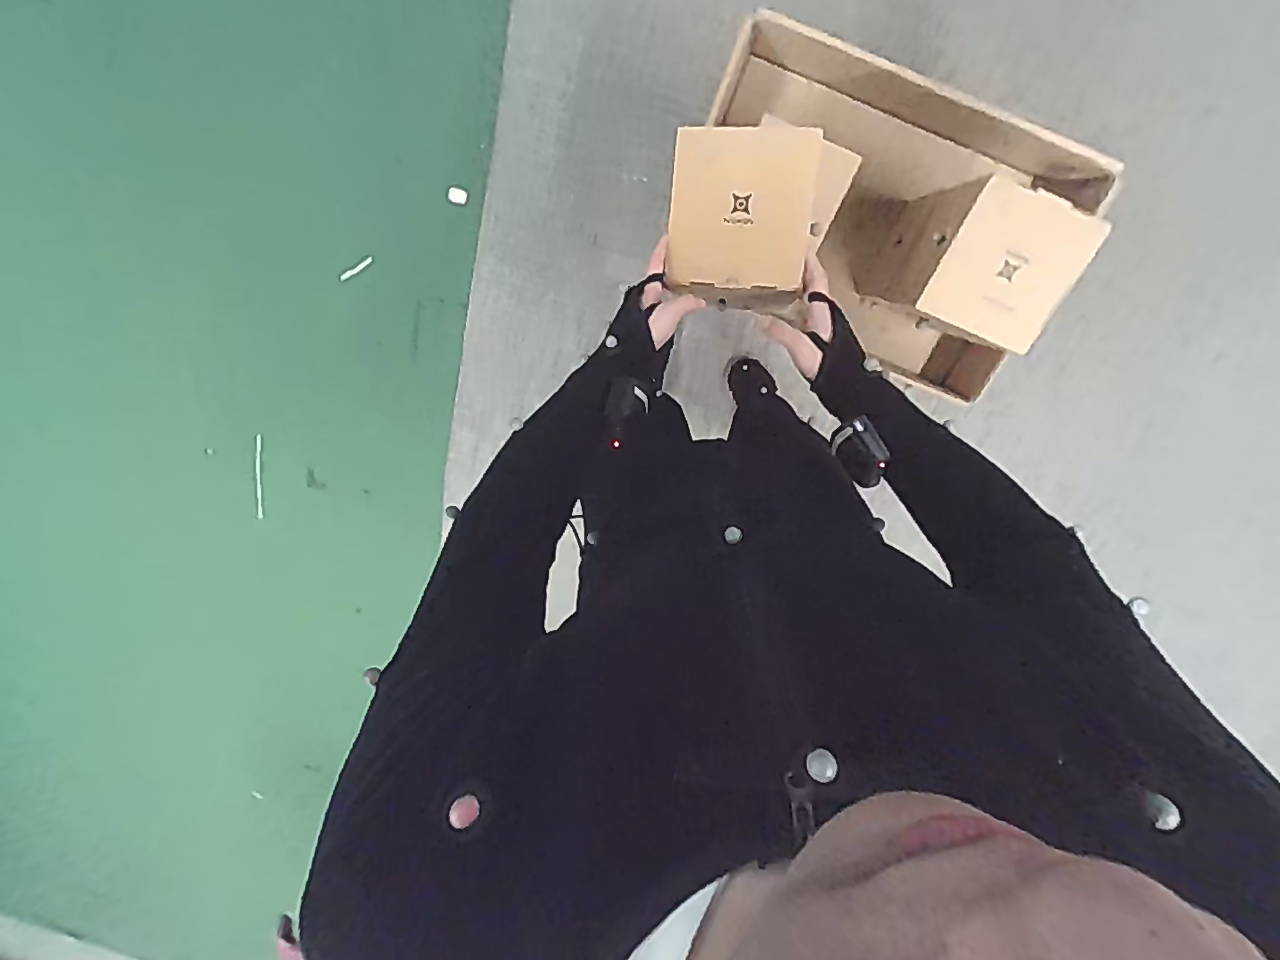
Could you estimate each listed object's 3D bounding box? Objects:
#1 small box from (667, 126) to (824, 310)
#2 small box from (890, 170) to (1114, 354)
[{"bbox_3d":[0.130,-0.326,0.702,0.168,0.176,0.179,5,101,9],"label":"small box"},{"bbox_3d":[0.488,-0.302,0.767,0.168,0.176,0.179,24,112,-1],"label":"small box"}]
